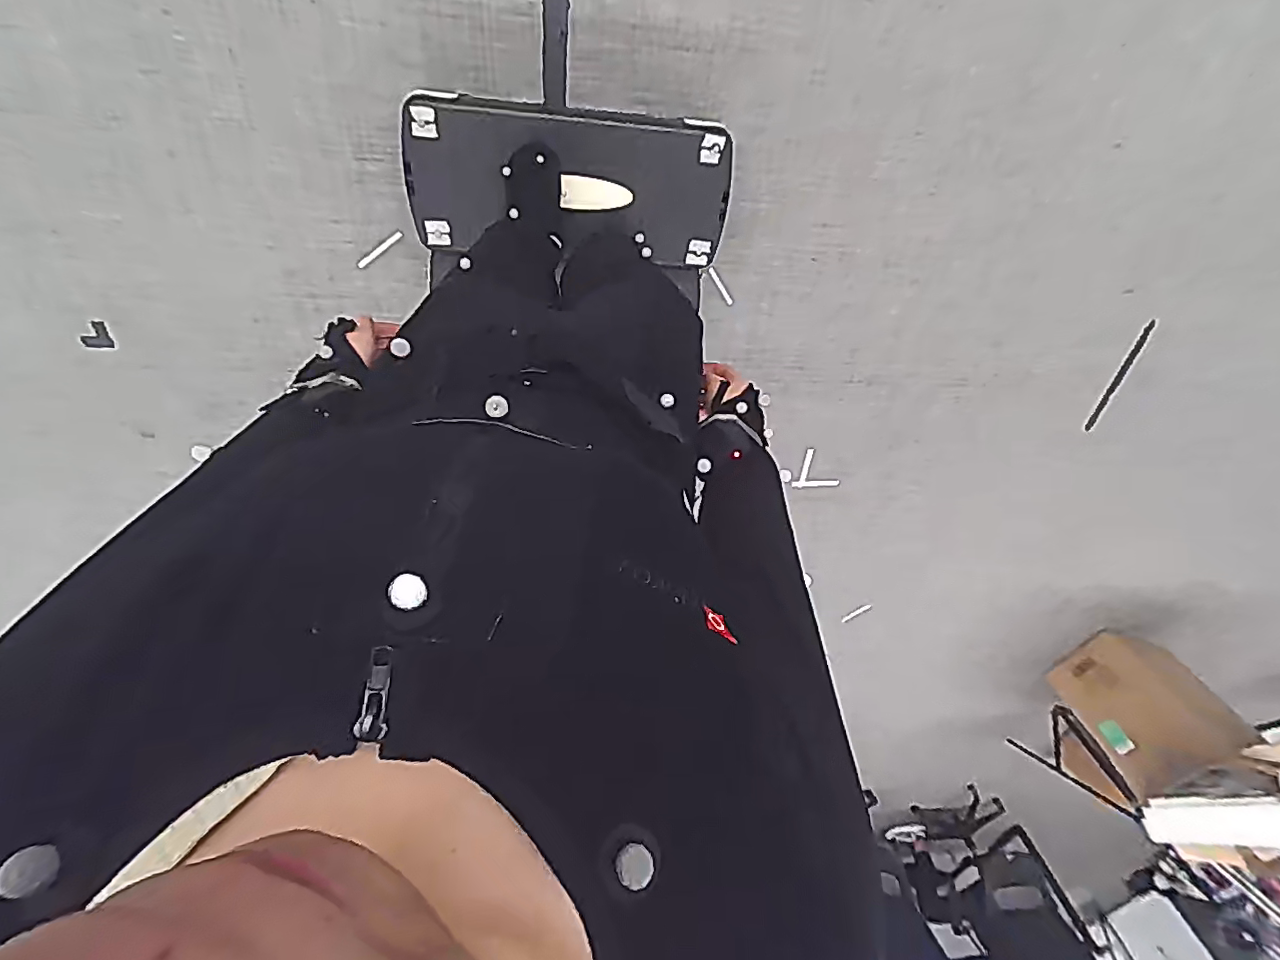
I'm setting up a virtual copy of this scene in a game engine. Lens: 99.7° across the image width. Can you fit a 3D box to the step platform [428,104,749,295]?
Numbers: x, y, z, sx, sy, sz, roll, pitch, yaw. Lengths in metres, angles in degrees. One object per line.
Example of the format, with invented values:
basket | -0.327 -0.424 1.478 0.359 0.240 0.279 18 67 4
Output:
step platform | -0.109 -0.614 1.212 0.684 0.204 0.286 4 124 -11
